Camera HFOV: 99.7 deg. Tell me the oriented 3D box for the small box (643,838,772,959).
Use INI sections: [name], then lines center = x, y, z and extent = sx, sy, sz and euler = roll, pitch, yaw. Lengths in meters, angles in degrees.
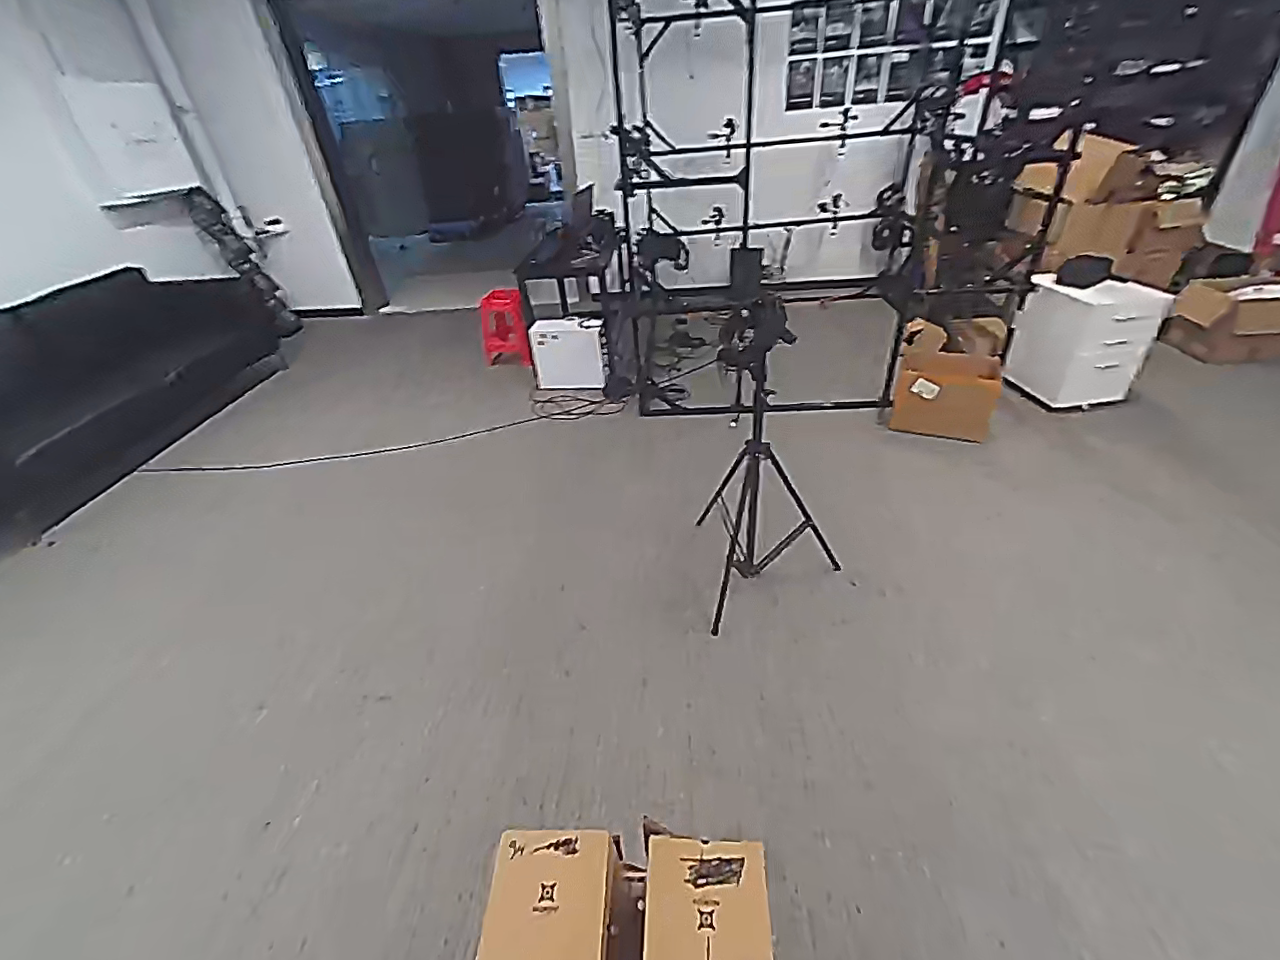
[small box]
center = 0.092, 0.641, 0.761
extent = 0.168, 0.176, 0.179
euler = 0, 37, 5
